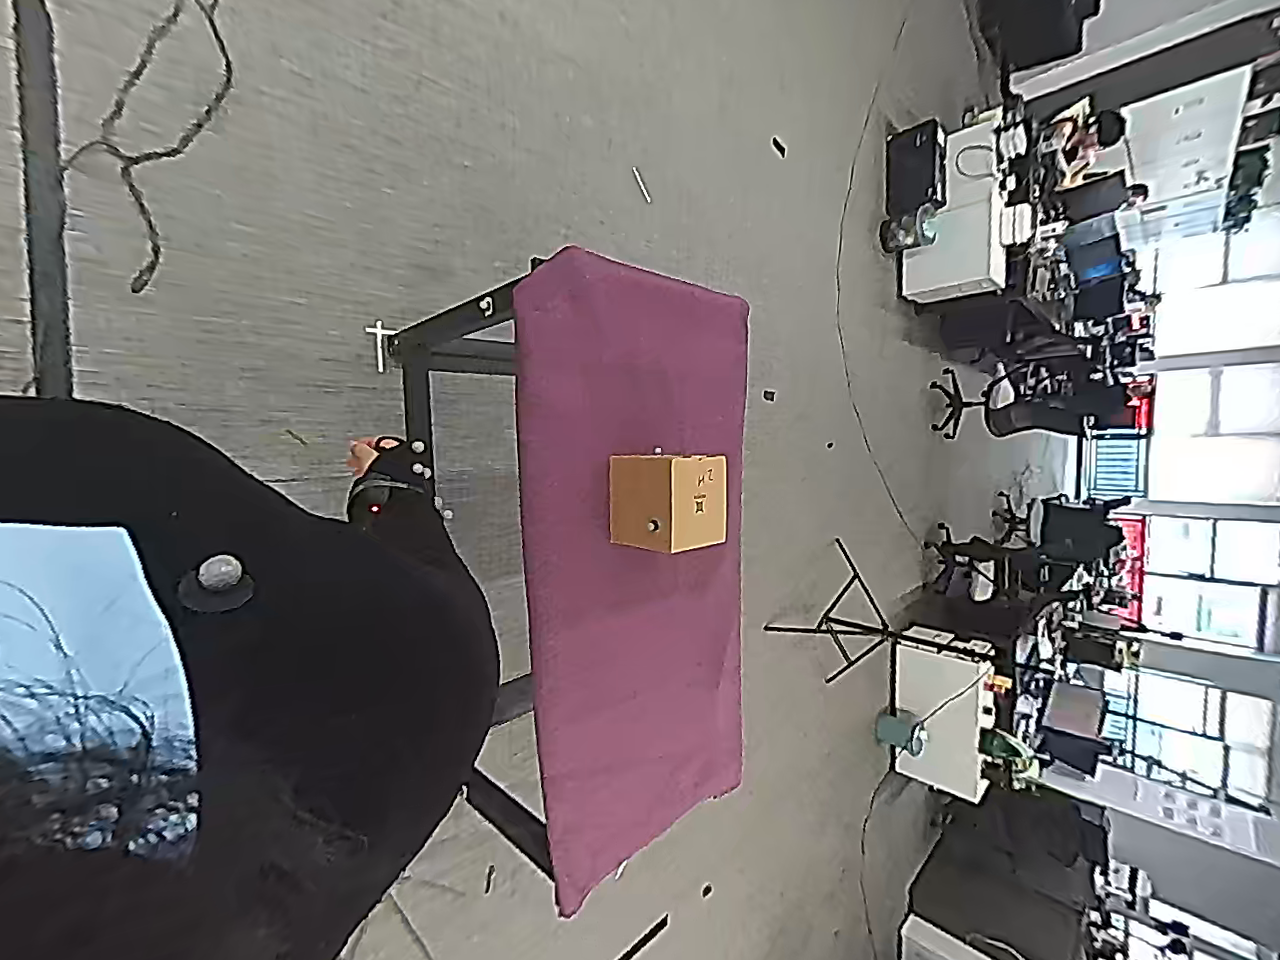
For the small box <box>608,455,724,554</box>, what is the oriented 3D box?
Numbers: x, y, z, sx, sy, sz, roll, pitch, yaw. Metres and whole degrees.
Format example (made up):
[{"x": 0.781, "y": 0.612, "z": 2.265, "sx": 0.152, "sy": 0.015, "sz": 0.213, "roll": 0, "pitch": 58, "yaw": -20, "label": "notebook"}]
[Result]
[{"x": 0.049, "y": 0.040, "z": 1.075, "sx": 0.168, "sy": 0.176, "sz": 0.179, "roll": -3, "pitch": 94, "yaw": -46, "label": "small box"}]
